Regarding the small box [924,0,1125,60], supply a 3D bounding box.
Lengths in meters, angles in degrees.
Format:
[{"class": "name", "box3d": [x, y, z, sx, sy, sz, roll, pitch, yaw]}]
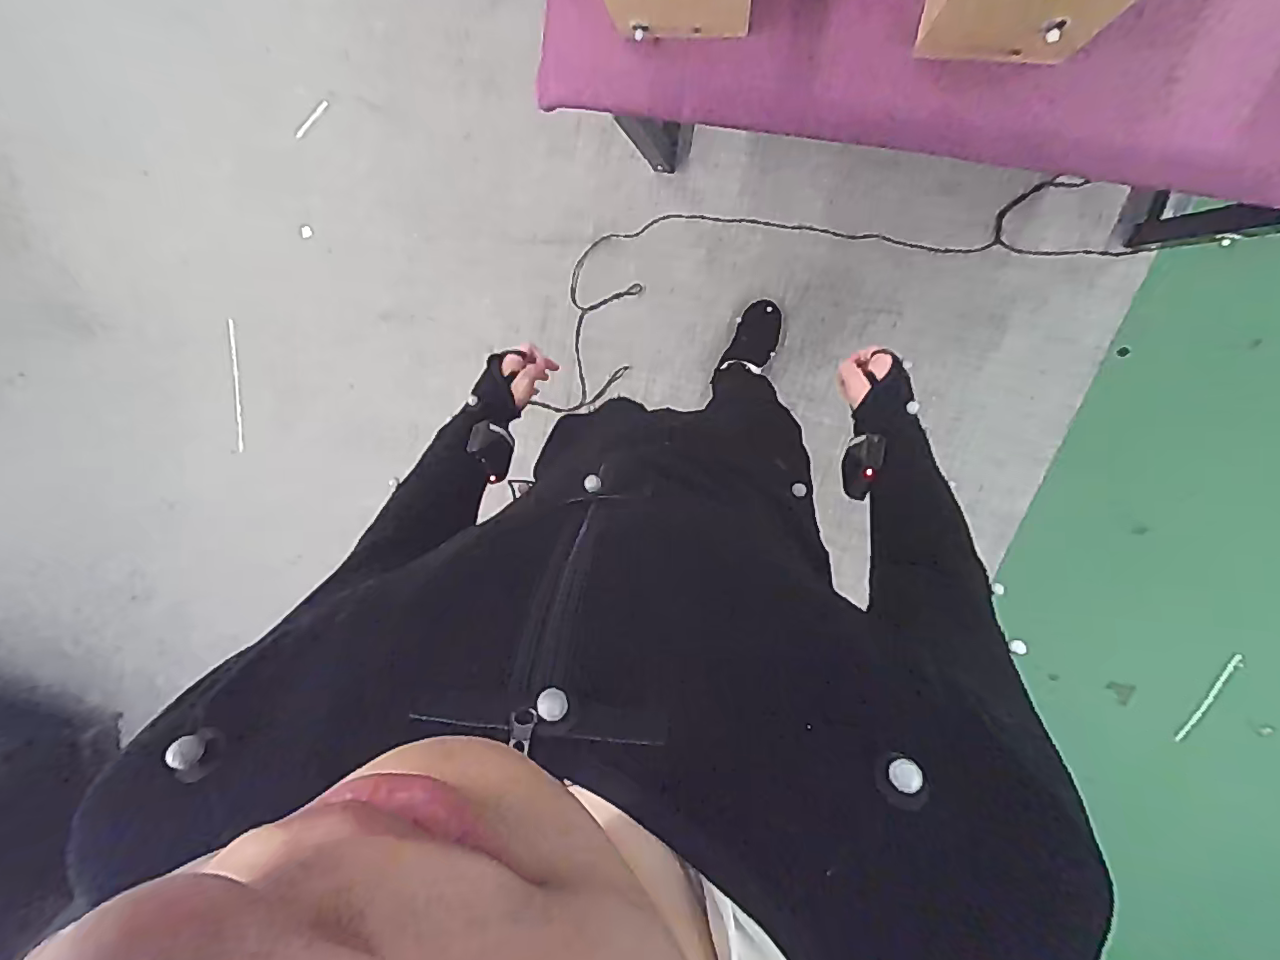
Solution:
[{"class": "small box", "box3d": [0.402, -0.549, 0.529, 0.168, 0.176, 0.179, 11, 109, 8]}]

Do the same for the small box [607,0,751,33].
[{"class": "small box", "box3d": [0.044, -0.621, 0.584, 0.168, 0.176, 0.179, 8, 108, 10]}]
